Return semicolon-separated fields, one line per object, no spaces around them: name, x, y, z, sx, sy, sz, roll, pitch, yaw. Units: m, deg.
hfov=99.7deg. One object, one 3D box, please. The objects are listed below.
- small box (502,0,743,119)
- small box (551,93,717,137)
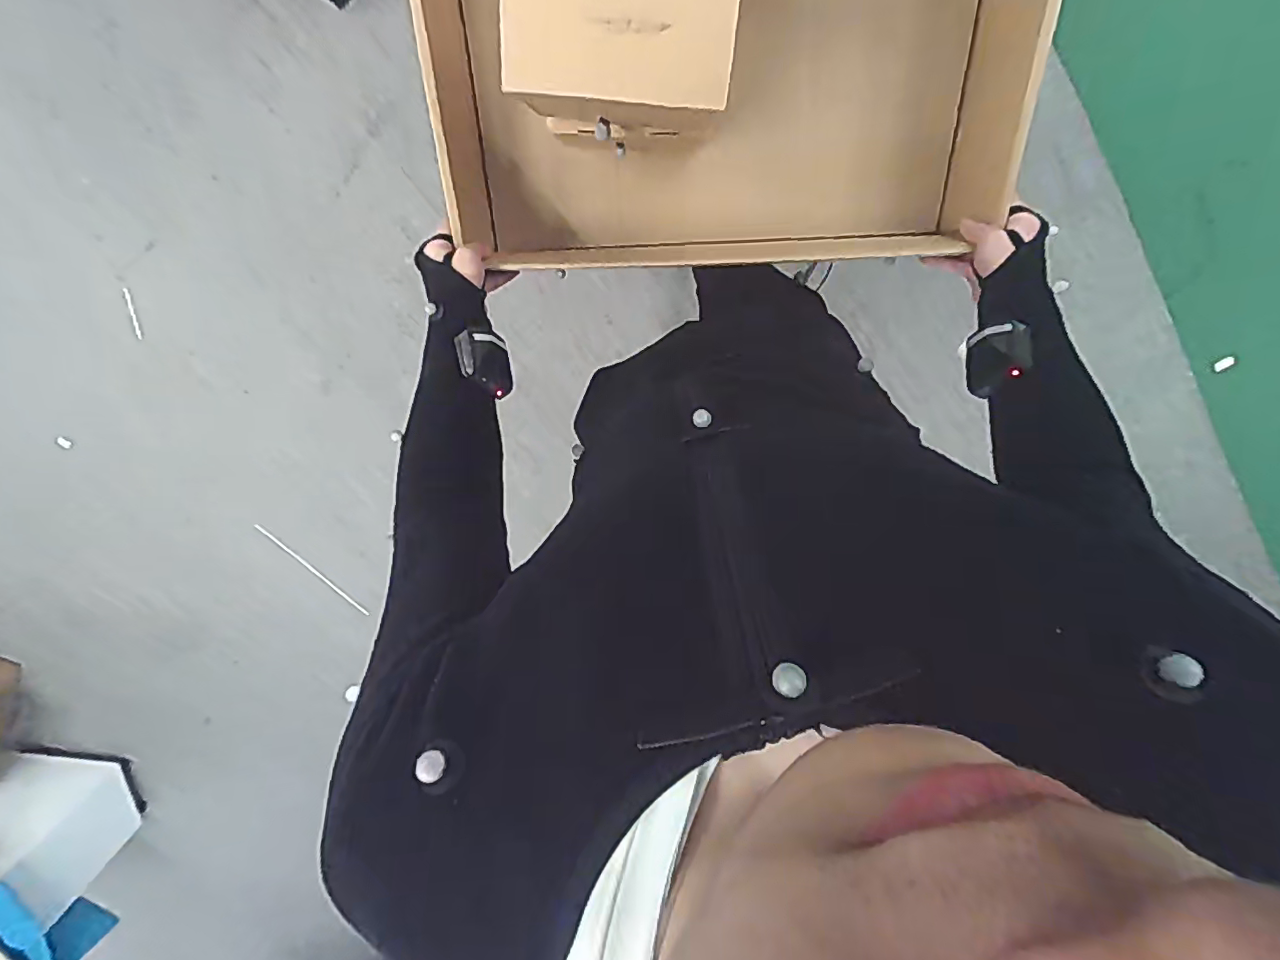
small box;-0.006;-0.400;0.417;0.168;0.176;0.179;6;118;-1
small box;-0.003;-0.471;0.564;0.168;0.176;0.179;2;119;0
